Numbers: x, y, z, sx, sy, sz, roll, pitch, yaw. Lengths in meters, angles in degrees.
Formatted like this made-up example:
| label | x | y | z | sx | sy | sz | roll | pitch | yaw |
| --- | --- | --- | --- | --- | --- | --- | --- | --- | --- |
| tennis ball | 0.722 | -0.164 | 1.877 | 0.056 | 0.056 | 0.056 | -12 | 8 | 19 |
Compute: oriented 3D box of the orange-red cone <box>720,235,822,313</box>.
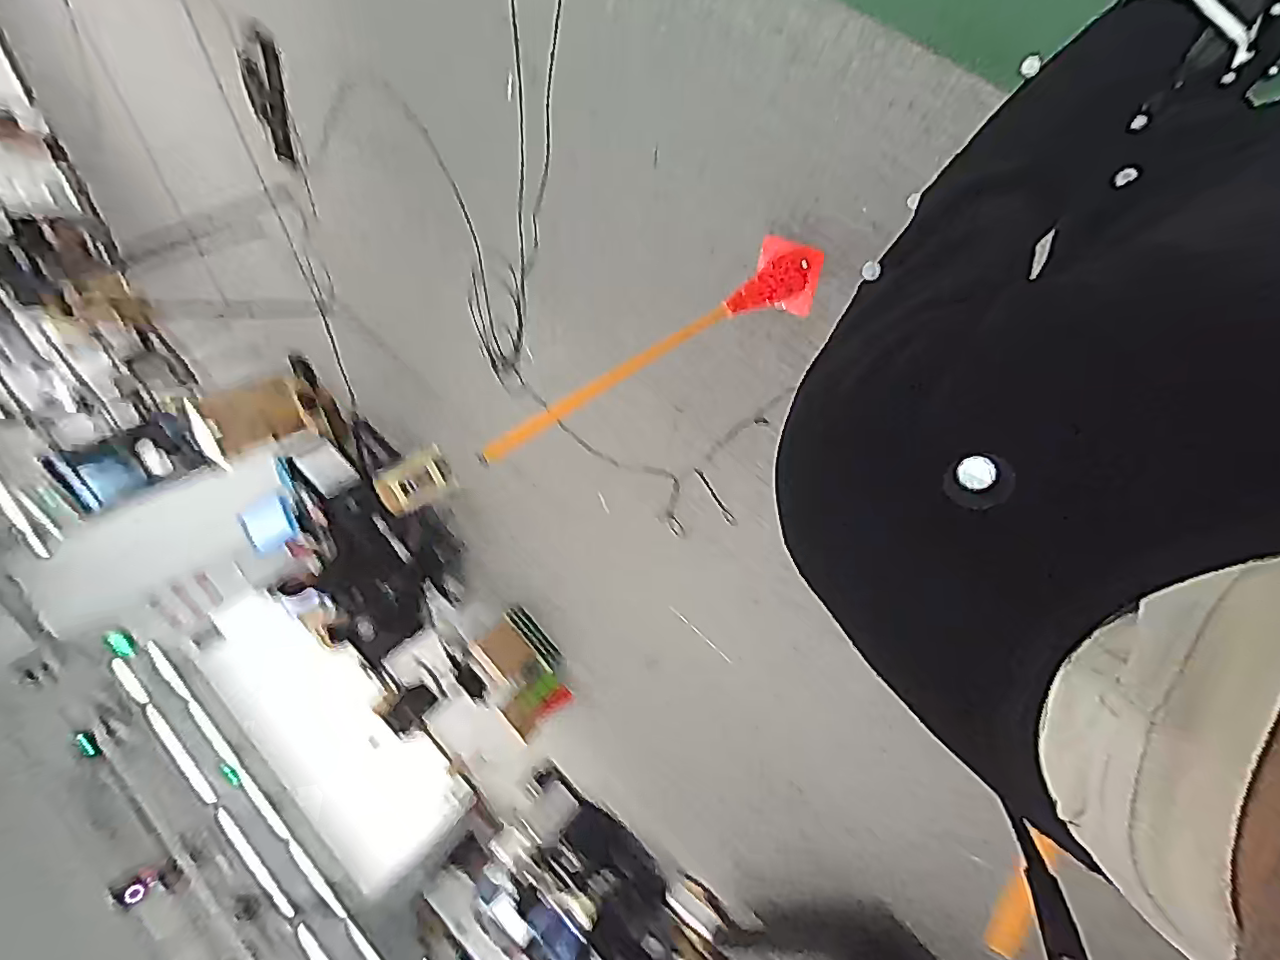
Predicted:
| label | x | y | z | sx | sy | sz | roll | pitch | yaw |
| --- | --- | --- | --- | --- | --- | --- | --- | --- | --- |
| orange-red cone | 0.342 | -0.558 | 1.574 | 0.199 | 0.360 | 0.198 | 33 | 138 | 25 |
